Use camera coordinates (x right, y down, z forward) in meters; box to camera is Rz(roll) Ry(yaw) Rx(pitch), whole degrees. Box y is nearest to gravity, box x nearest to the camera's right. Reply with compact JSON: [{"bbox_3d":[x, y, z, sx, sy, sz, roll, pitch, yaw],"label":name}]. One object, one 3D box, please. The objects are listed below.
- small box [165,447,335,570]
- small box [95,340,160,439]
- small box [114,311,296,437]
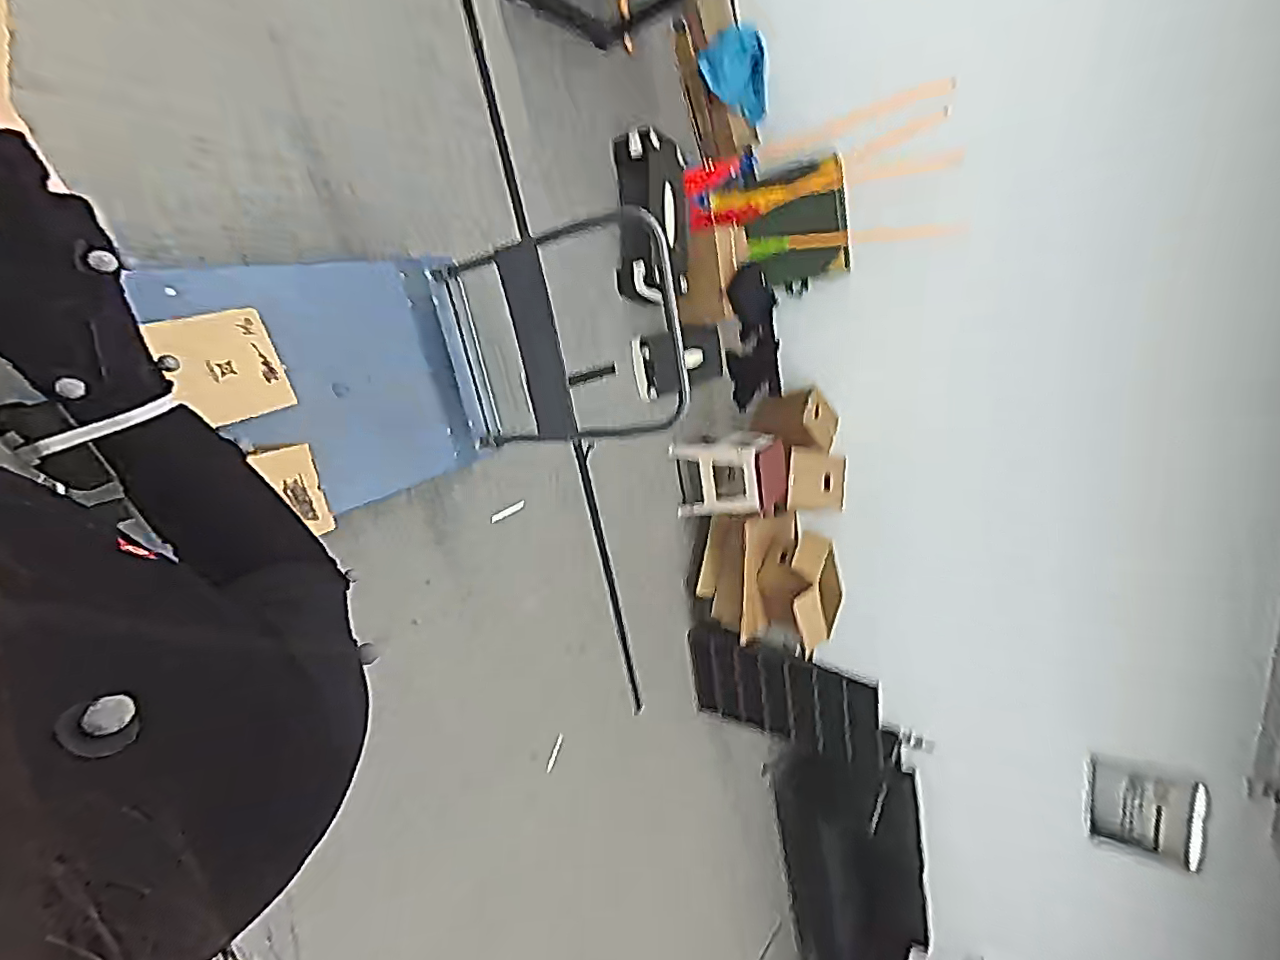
[{"bbox_3d":[-0.682,0.038,0.951,0.179,0.176,0.168,-27,113,-49],"label":"small box"},{"bbox_3d":[-0.851,-0.175,0.993,0.179,0.176,0.168,-33,118,-48],"label":"small box"},{"bbox_3d":[-0.719,-0.172,0.893,0.179,0.176,0.168,-34,119,-46],"label":"small box"}]
